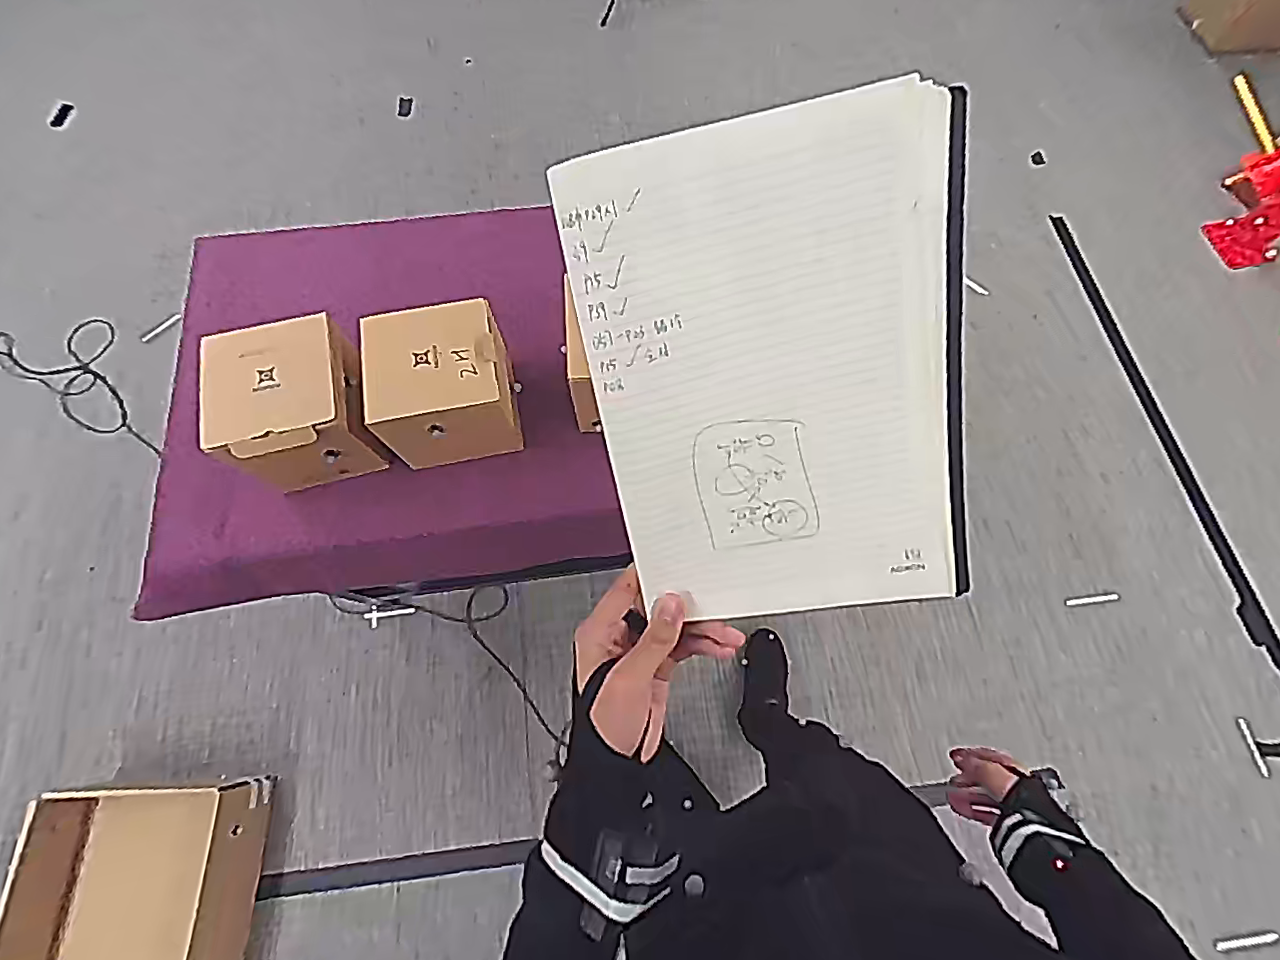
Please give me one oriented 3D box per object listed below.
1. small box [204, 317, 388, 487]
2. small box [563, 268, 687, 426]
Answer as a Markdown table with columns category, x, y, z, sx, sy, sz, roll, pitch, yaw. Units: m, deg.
| category | x | y | z | sx | sy | sz | roll | pitch | yaw |
| --- | --- | --- | --- | --- | --- | --- | --- | --- | --- |
| small box | -0.486 | -0.101 | 0.785 | 0.168 | 0.176 | 0.179 | -14 | 71 | -7 |
| small box | -0.023 | -0.191 | 0.820 | 0.168 | 0.176 | 0.179 | -4 | 70 | -3 |
